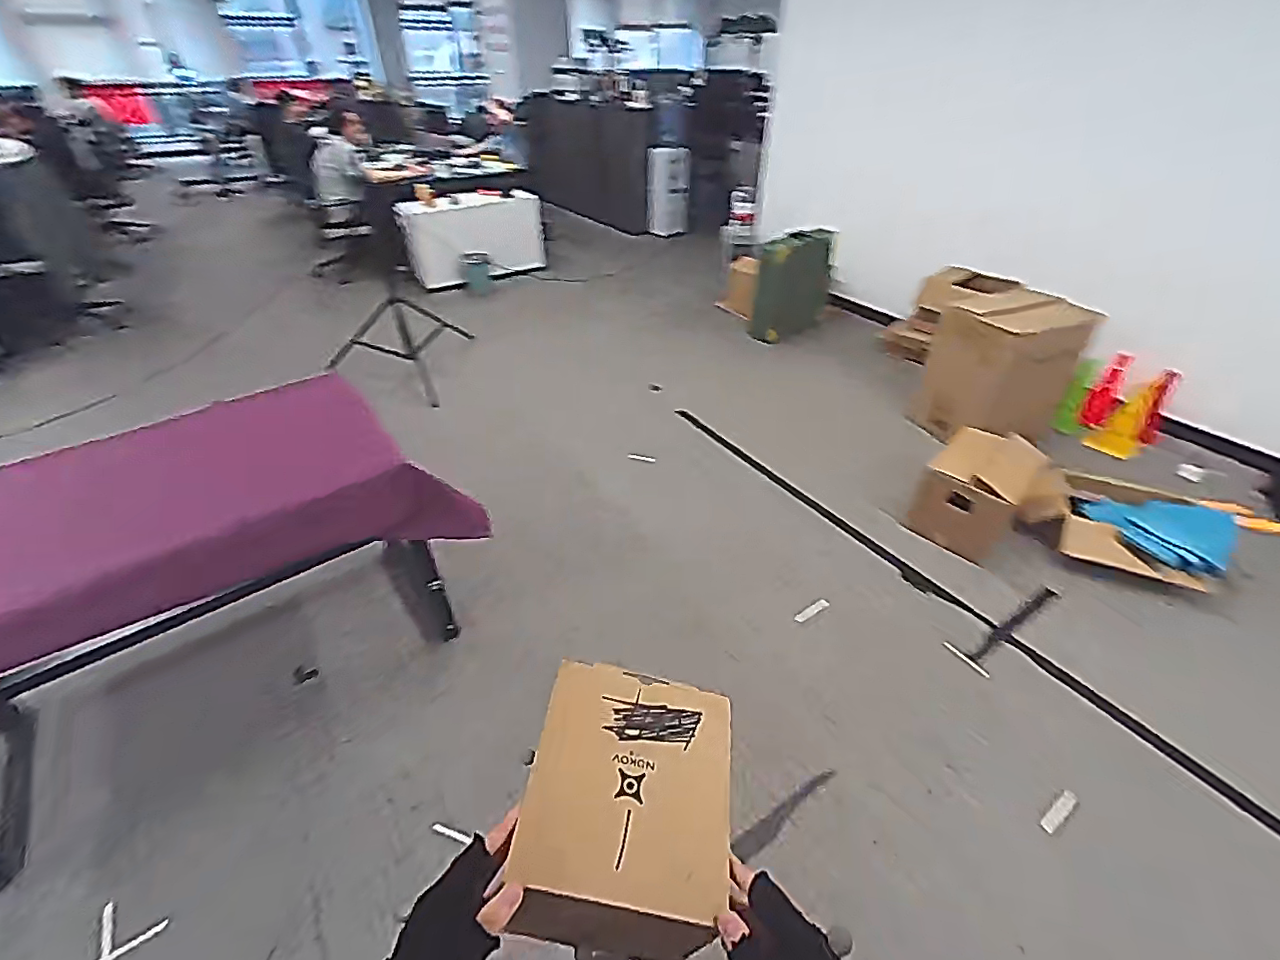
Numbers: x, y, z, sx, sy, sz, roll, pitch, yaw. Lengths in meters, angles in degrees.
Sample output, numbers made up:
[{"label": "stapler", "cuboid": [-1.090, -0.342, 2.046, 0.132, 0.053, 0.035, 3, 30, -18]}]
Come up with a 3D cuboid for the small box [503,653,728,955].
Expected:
[{"label": "small box", "cuboid": [-0.023, 0.294, 0.495, 0.168, 0.176, 0.179, 13, 40, -2]}]
